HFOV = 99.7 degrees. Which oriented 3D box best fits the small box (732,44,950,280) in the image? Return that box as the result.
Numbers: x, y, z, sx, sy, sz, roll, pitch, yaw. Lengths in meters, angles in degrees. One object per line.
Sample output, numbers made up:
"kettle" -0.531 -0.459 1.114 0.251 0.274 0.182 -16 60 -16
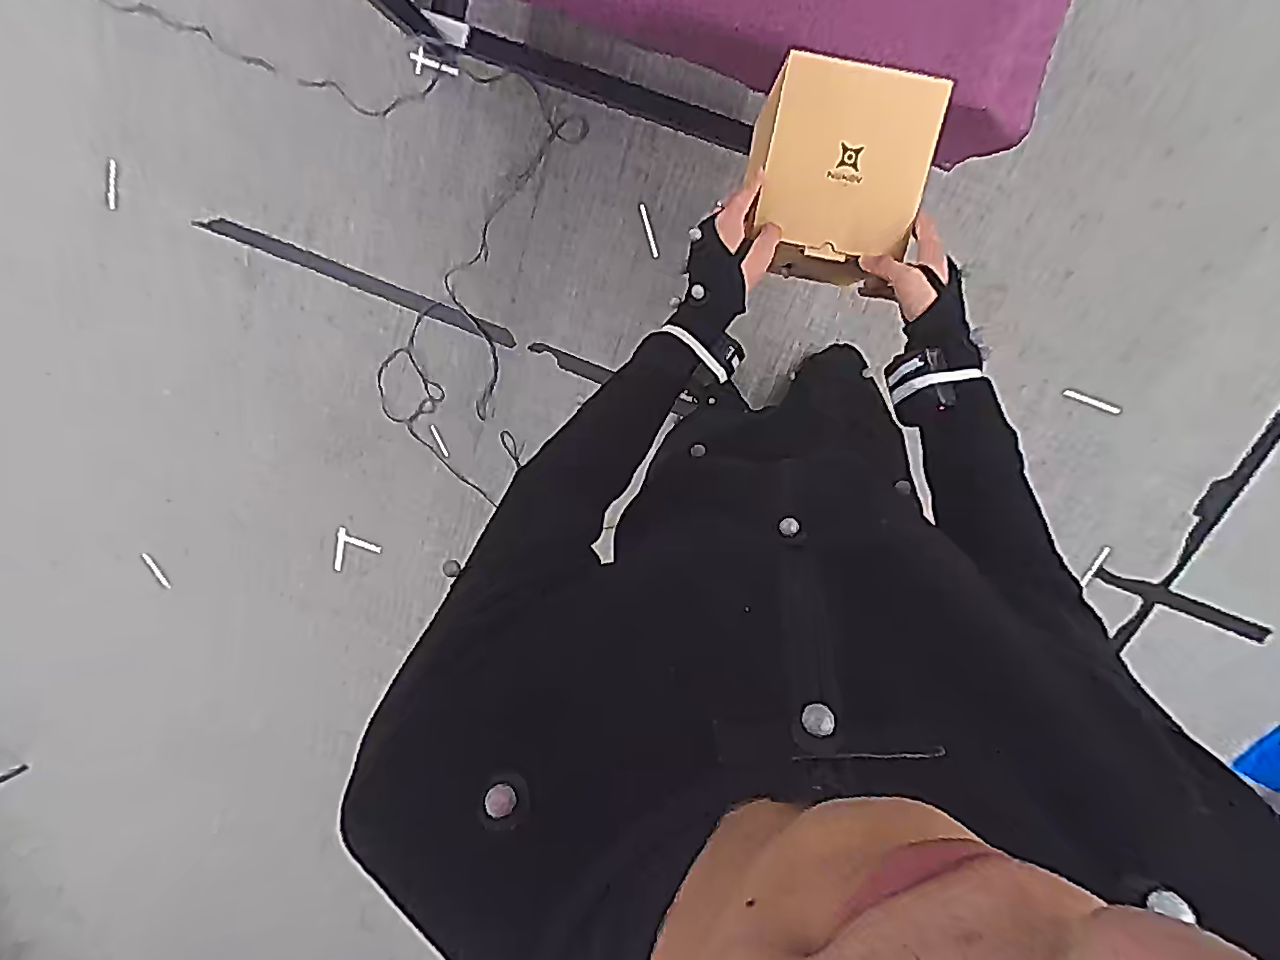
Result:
"small box" 0.210 -0.344 0.622 0.168 0.176 0.179 11 104 -1
